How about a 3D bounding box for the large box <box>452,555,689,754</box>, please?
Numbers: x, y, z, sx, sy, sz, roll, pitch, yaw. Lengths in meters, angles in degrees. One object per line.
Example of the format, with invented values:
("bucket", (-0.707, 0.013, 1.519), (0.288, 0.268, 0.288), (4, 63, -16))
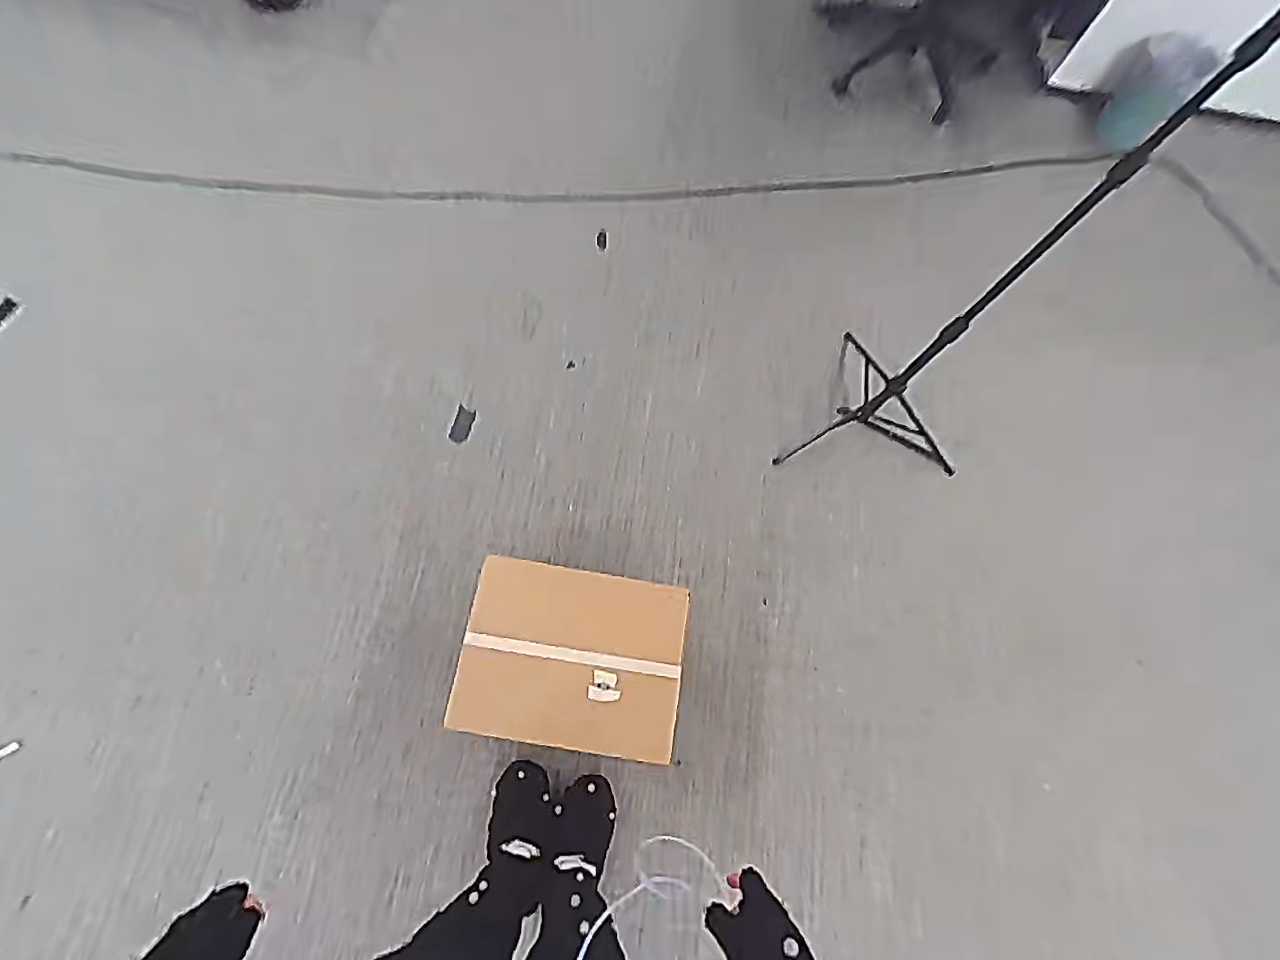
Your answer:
("large box", (-0.133, 0.368, 1.150), (0.408, 0.320, 0.320), (10, 71, -2))
